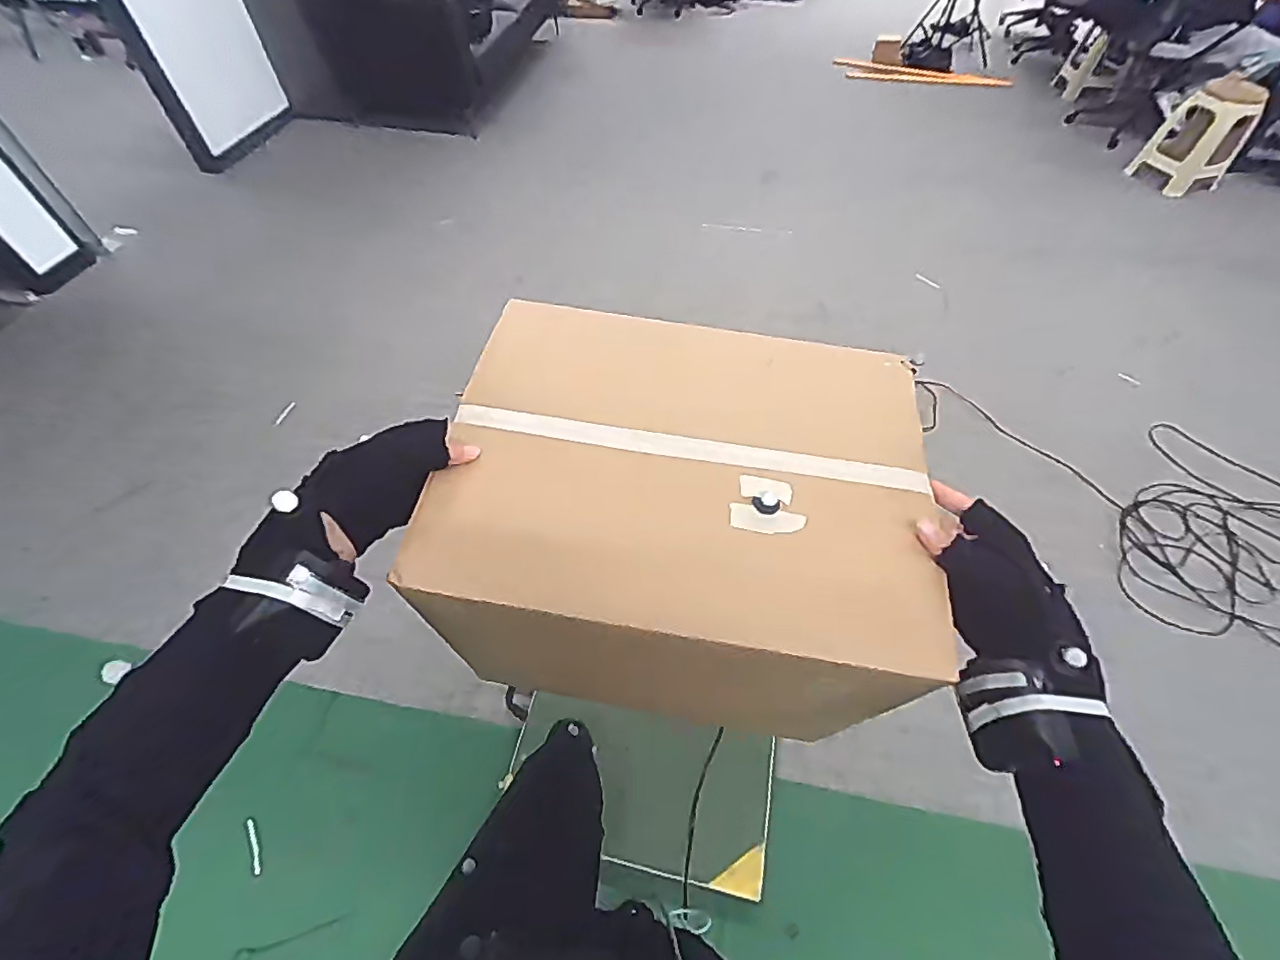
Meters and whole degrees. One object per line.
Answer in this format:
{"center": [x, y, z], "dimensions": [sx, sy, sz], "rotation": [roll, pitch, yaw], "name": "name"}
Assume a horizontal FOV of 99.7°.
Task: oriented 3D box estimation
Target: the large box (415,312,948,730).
{"center": [0.038, 0.059, 0.598], "dimensions": [0.408, 0.320, 0.320], "rotation": [9, 58, 2], "name": "large box"}
